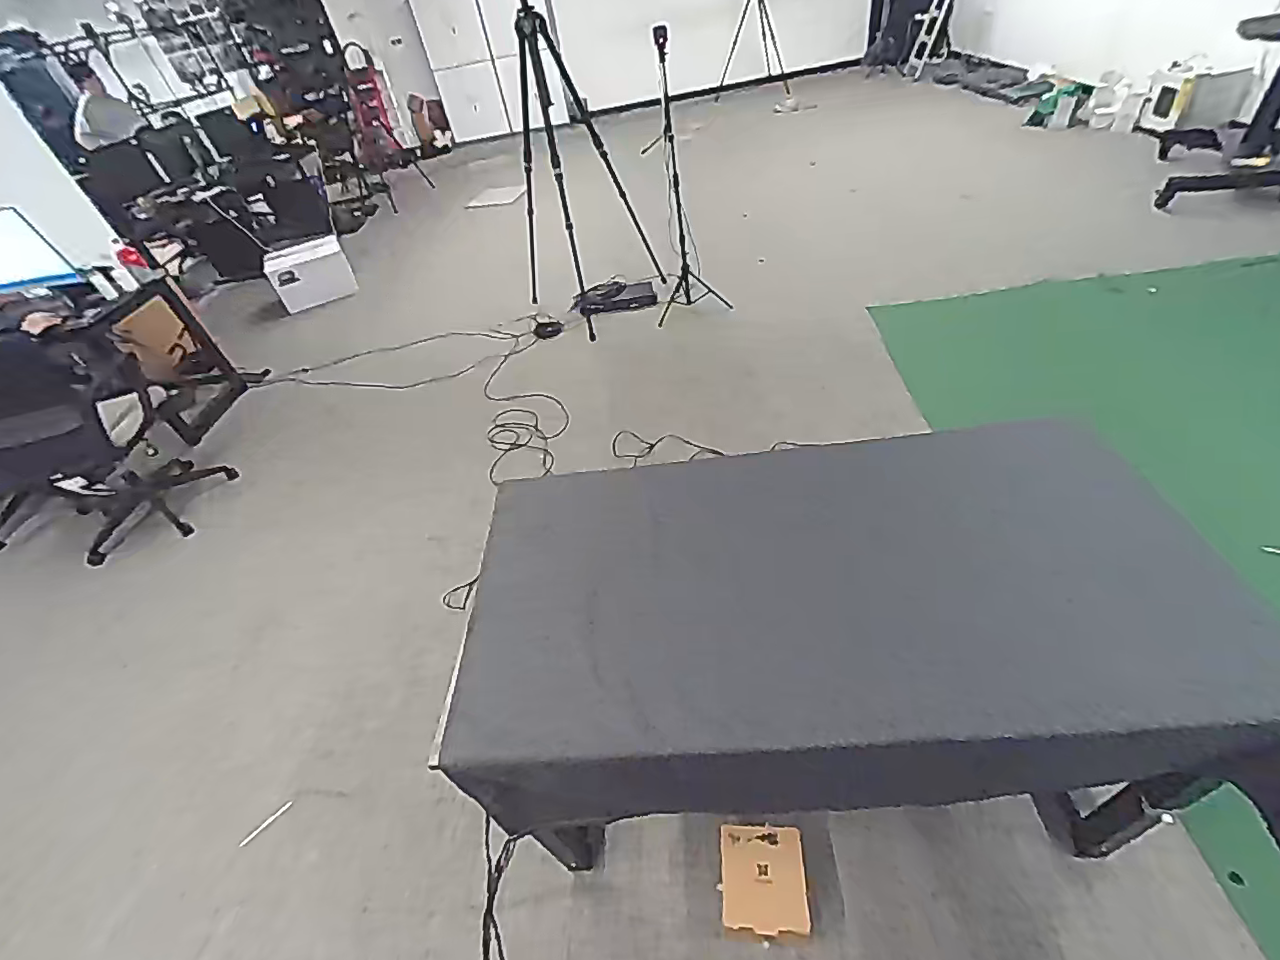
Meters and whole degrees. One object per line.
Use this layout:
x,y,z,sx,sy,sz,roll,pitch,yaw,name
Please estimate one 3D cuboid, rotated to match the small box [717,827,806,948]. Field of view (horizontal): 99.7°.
0.250,0.849,1.126,0.168,0.176,0.179,-4,43,10,small box
